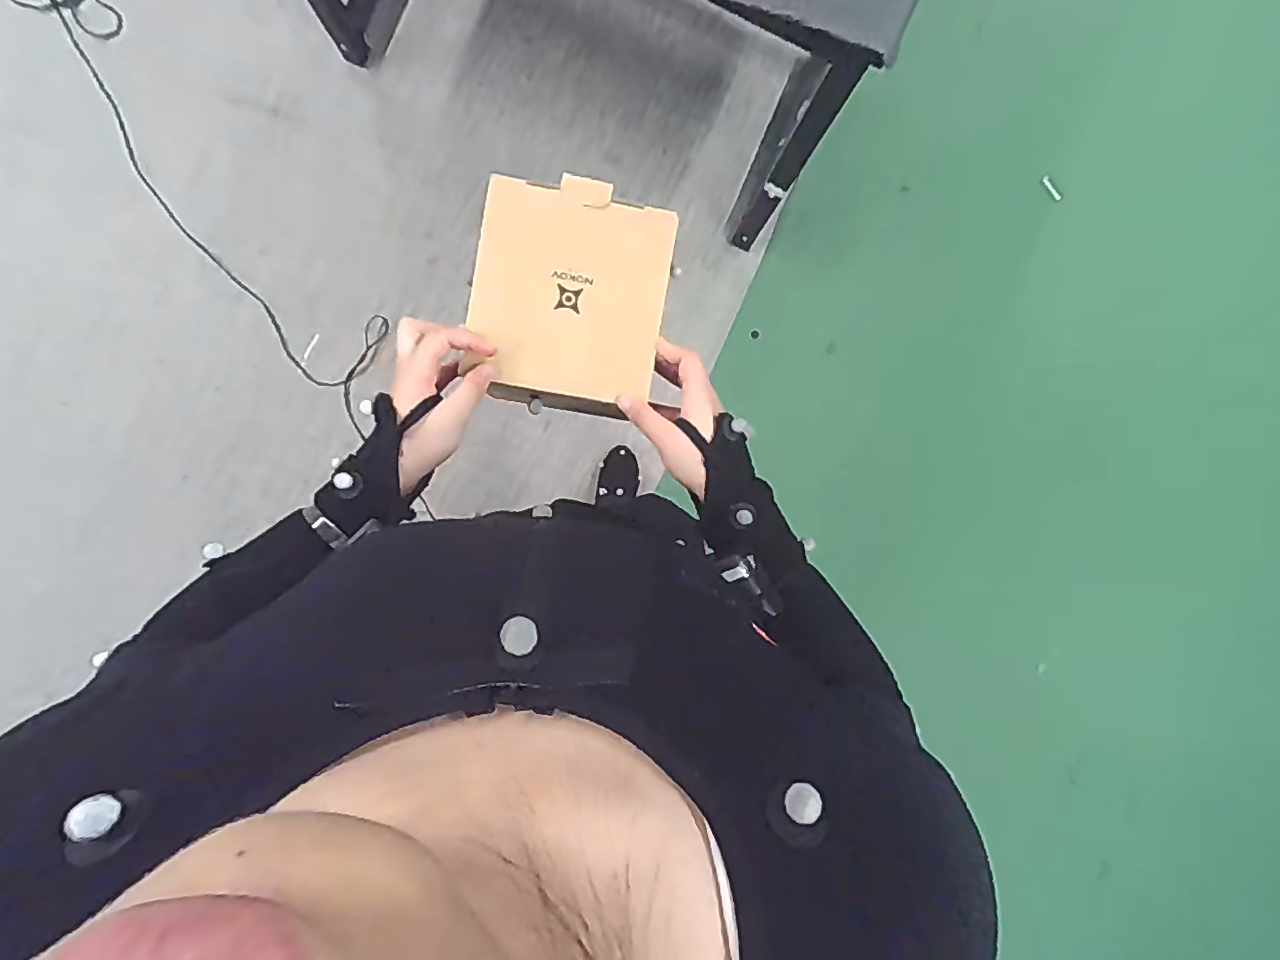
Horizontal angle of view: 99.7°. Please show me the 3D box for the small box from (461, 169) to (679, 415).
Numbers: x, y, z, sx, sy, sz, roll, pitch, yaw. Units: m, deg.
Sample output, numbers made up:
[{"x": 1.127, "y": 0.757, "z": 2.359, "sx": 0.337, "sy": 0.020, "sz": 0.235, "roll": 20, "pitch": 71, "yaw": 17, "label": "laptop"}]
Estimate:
[{"x": -0.065, "y": -0.166, "z": 0.540, "sx": 0.168, "sy": 0.176, "sz": 0.179, "roll": 9, "pitch": 91, "yaw": -5, "label": "small box"}]
